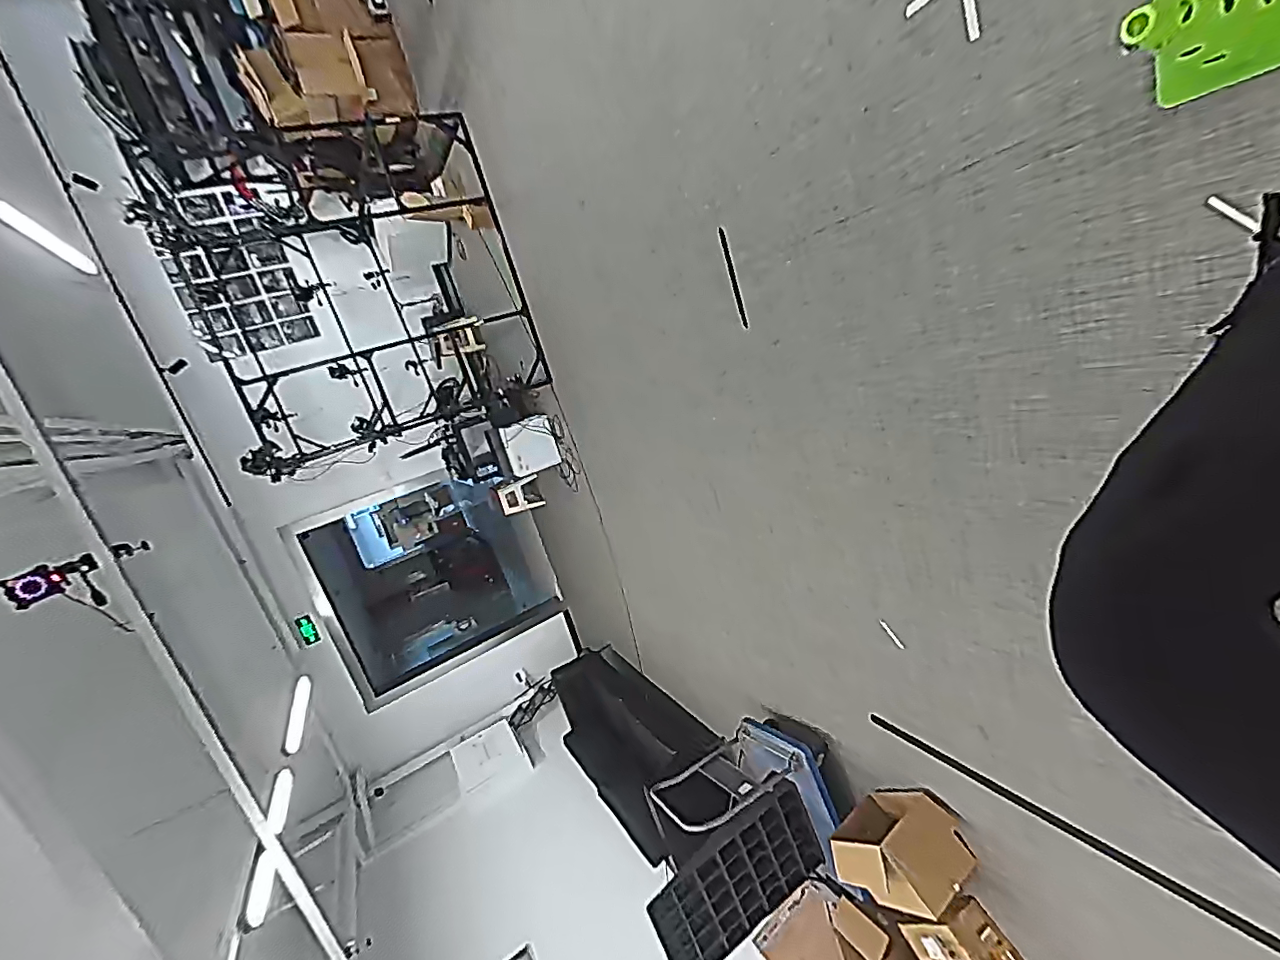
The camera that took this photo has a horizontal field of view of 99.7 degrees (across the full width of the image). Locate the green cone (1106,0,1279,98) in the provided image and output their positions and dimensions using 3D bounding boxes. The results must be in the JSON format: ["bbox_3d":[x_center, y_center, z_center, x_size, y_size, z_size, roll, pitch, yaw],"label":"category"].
[{"bbox_3d":[0.824,-0.709,0.814,0.202,0.368,0.200,13,124,63],"label":"green cone"}]
